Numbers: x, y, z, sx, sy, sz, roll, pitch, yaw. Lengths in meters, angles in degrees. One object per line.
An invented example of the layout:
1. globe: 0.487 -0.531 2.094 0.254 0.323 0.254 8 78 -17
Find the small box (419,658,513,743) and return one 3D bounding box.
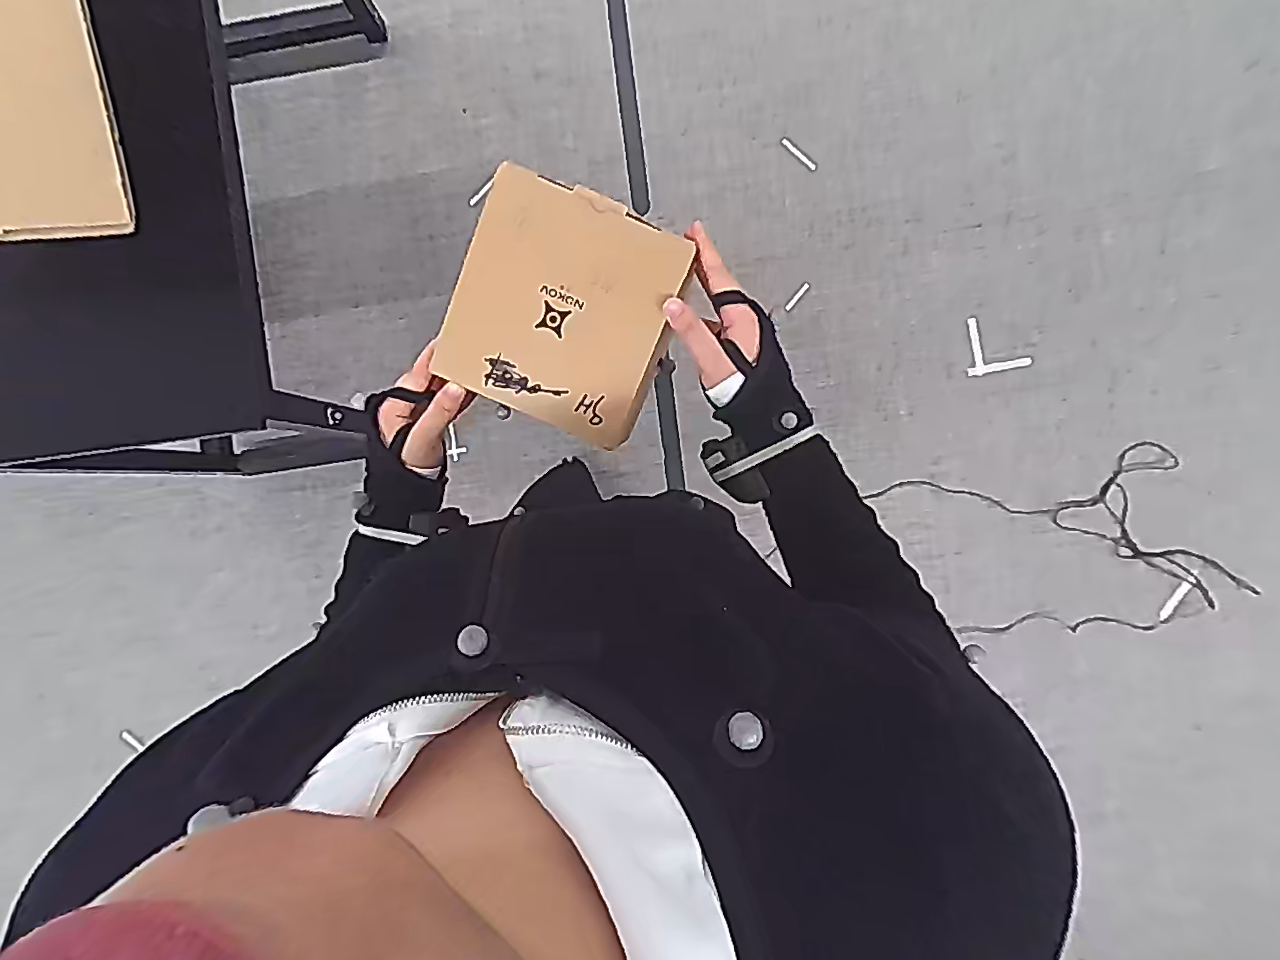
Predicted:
1. small box: -0.452 0.588 1.428 0.179 0.176 0.168 -12 90 1

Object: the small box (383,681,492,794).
1. small box: -0.462 0.592 1.266 0.179 0.176 0.168 -15 89 3

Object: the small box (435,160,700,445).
1. small box: -0.056 -0.149 0.508 0.168 0.176 0.179 24 99 1
